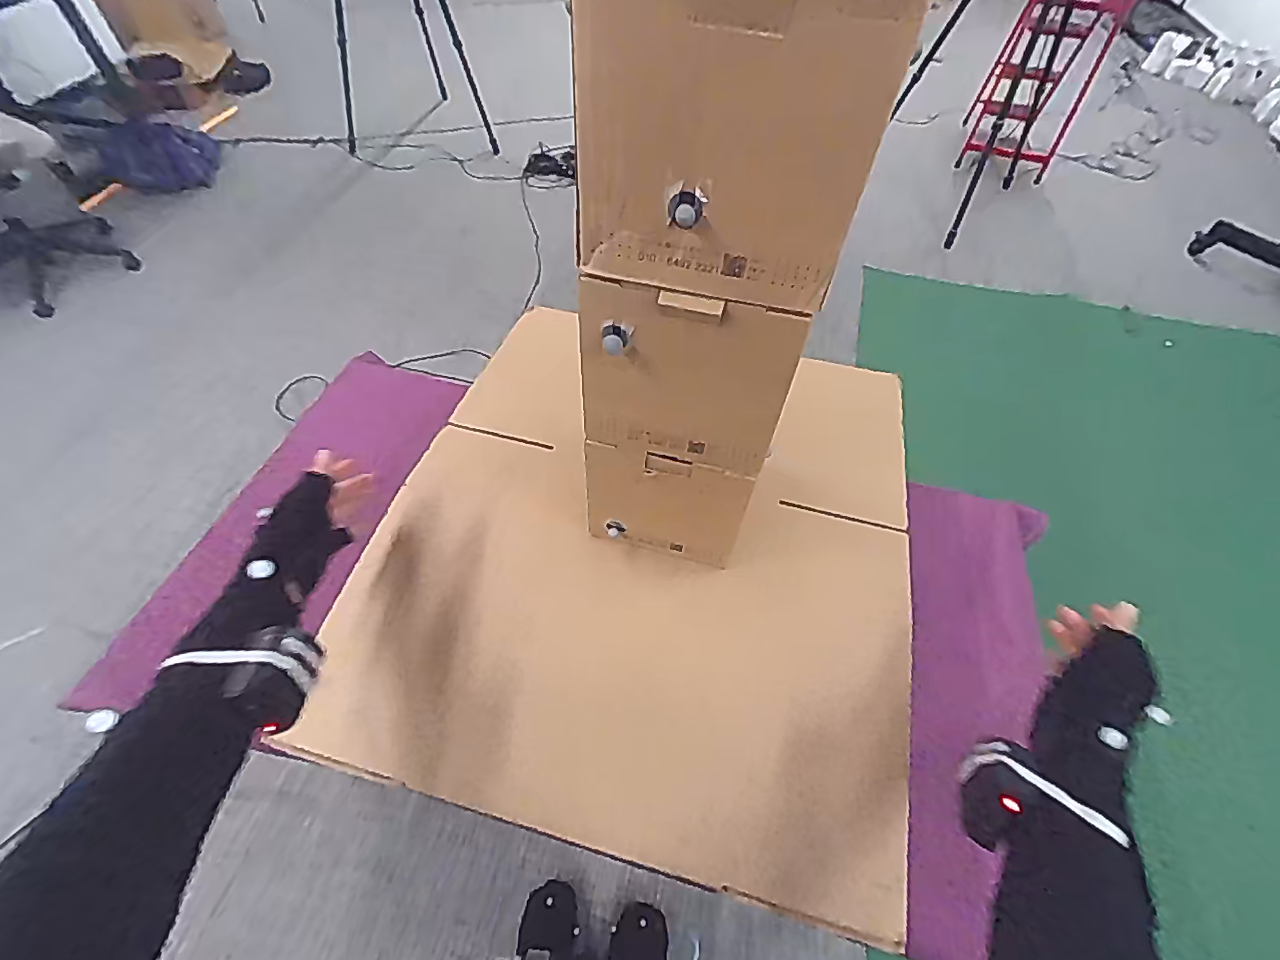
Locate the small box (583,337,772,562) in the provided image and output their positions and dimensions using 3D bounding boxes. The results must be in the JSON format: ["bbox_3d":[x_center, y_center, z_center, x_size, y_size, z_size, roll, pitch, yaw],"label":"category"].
[{"bbox_3d":[0.043,-0.030,0.616,0.168,0.176,0.179,13,52,7],"label":"small box"}]

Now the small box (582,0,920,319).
[{"bbox_3d":[0.061,-0.238,0.364,0.168,0.176,0.179,12,52,5],"label":"small box"}]
